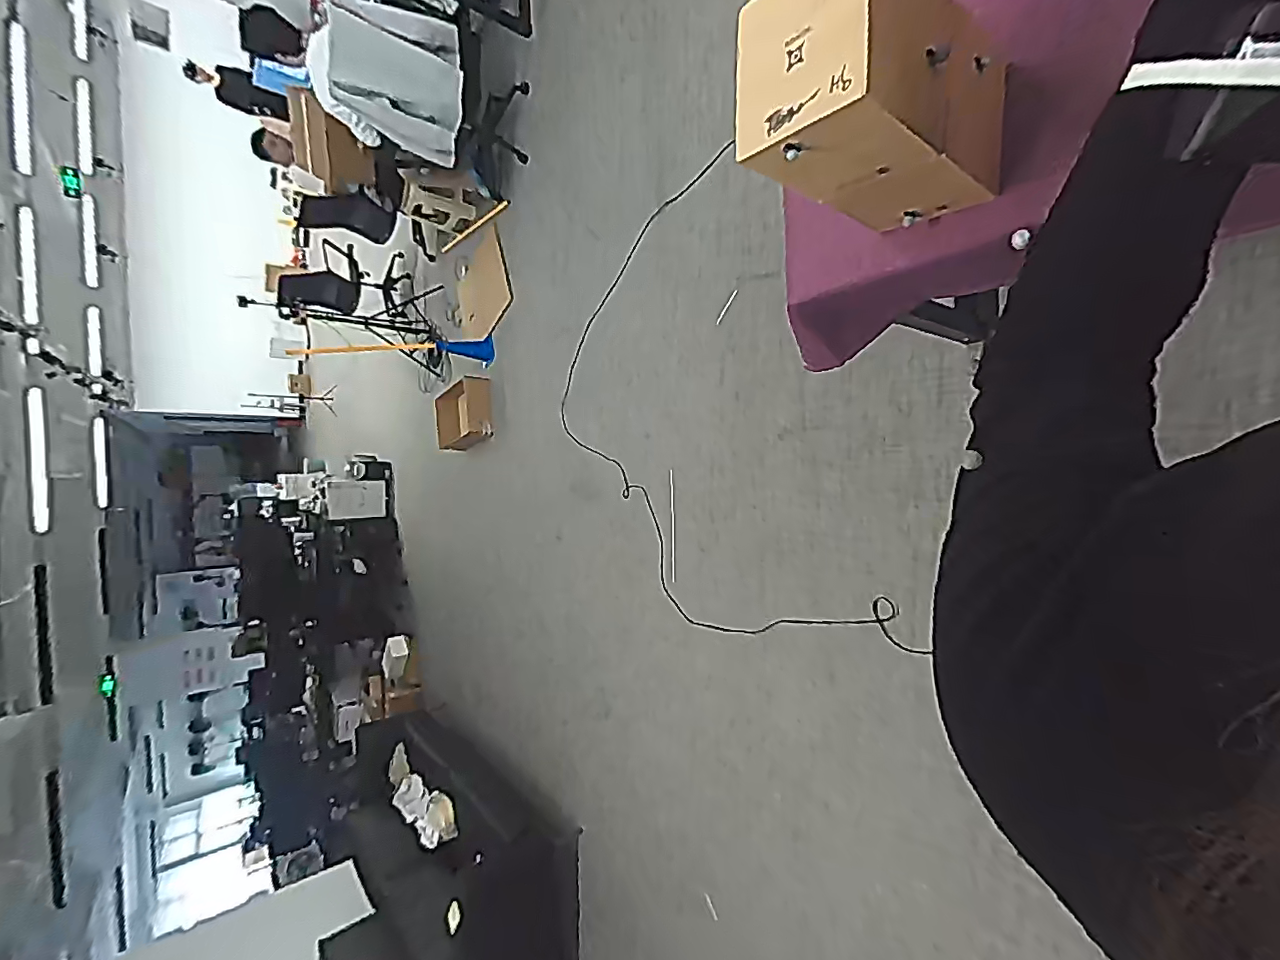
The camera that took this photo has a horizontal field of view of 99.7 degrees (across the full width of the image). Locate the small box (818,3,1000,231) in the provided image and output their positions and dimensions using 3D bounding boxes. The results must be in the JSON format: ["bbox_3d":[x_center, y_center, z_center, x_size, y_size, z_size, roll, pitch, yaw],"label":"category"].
[{"bbox_3d":[0.363,-0.464,0.729,0.168,0.176,0.179,6,97,52],"label":"small box"}]

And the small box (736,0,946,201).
[{"bbox_3d":[0.233,-0.460,0.627,0.168,0.176,0.179,6,95,53],"label":"small box"}]
